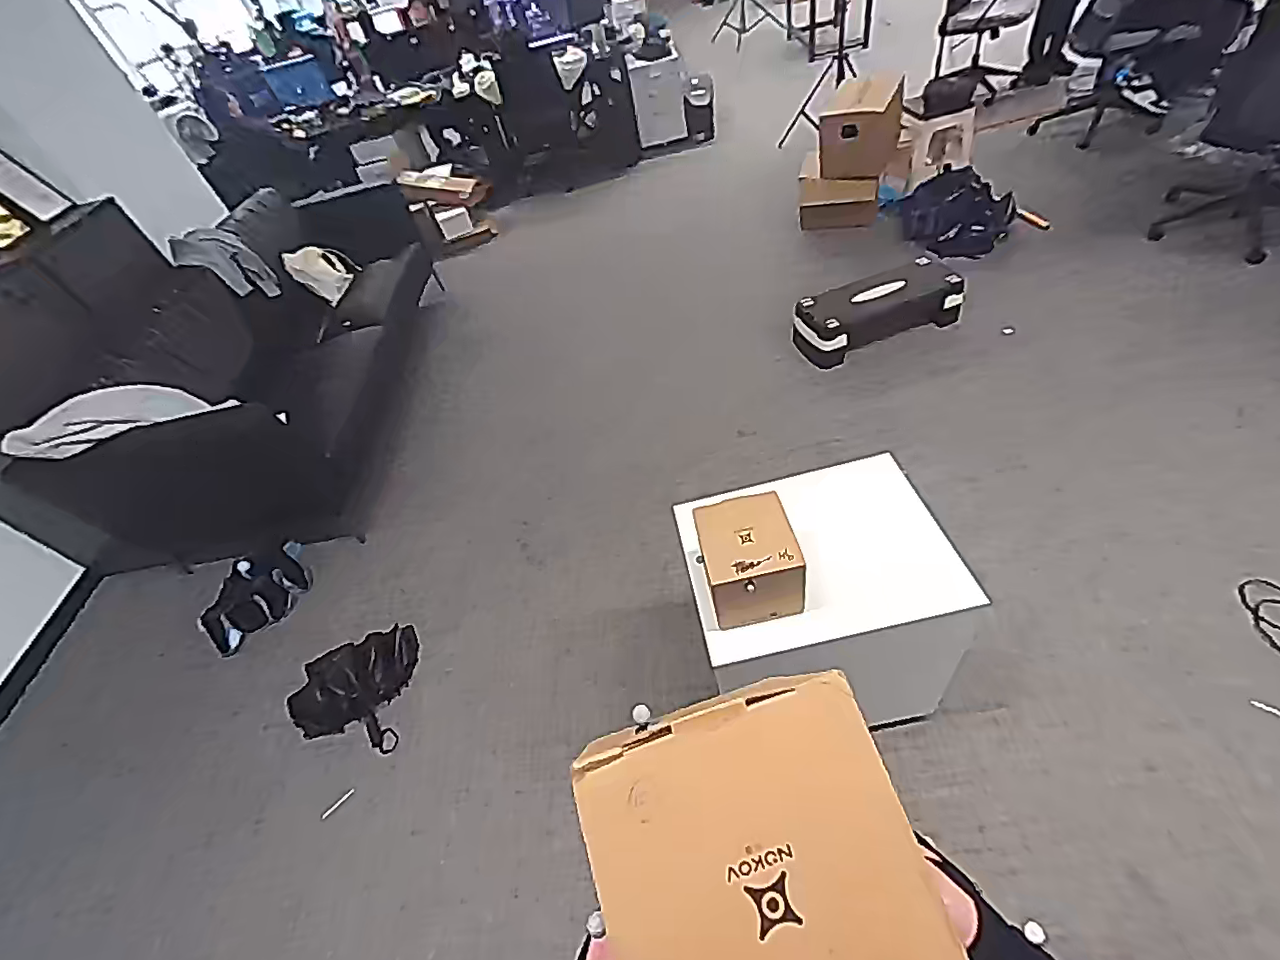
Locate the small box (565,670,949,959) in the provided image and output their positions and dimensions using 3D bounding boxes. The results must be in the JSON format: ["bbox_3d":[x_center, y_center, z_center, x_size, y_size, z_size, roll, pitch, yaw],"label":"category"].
[{"bbox_3d":[0.058,0.238,0.350,0.168,0.176,0.179,-16,70,-6],"label":"small box"}]

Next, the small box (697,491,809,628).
[{"bbox_3d":[0.210,0.152,1.023,0.168,0.176,0.179,-13,45,4],"label":"small box"}]
